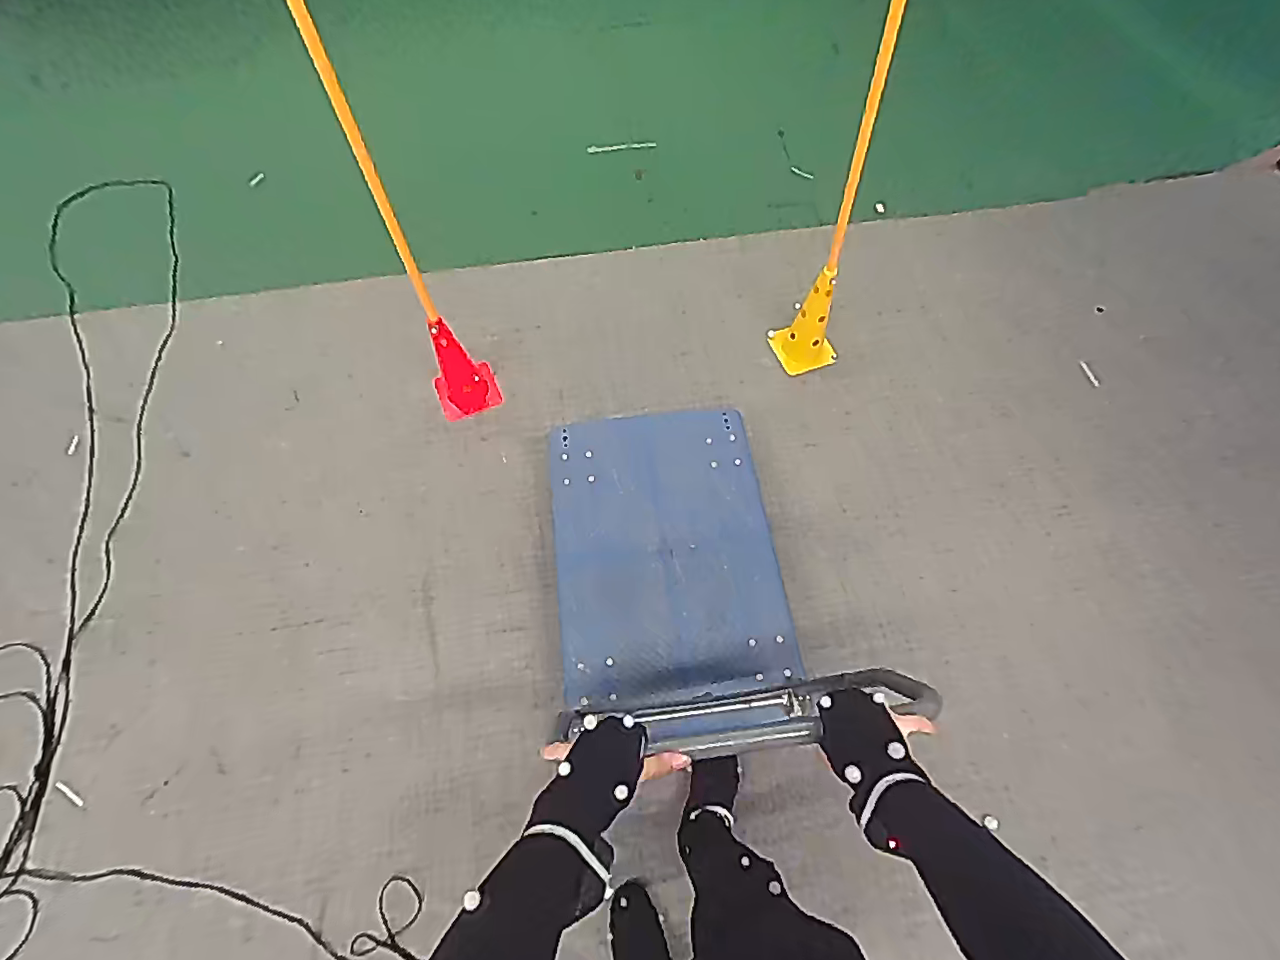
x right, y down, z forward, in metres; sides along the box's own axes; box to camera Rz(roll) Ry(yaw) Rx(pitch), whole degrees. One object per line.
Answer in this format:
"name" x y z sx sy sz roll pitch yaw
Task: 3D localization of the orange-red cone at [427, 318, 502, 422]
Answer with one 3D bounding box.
"orange-red cone" -0.593 -0.374 1.709 0.199 0.360 0.198 -22 65 -9
